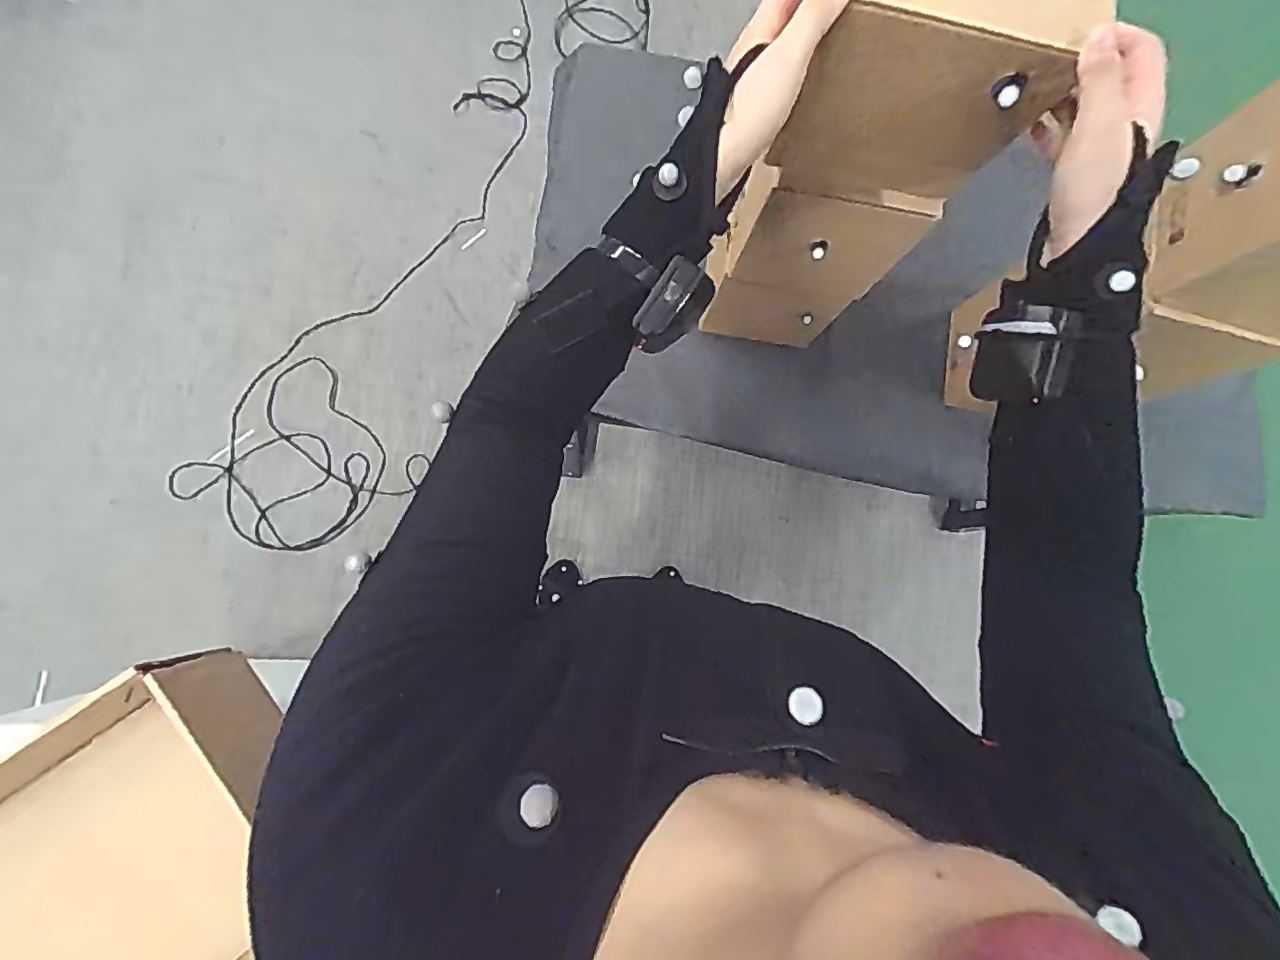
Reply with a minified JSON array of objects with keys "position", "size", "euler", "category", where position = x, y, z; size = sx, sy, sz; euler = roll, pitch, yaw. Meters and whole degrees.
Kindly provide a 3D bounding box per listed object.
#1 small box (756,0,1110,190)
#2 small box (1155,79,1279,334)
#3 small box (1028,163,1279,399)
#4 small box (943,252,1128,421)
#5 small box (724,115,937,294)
[{"position":[0.198,-0.345,0.397],"size":[0.179,0.176,0.168],"euler":[10,90,-3],"category":"small box"},{"position":[0.606,-0.245,0.466],"size":[0.179,0.176,0.168],"euler":[15,79,0],"category":"small box"},{"position":[0.592,-0.215,0.626],"size":[0.168,0.176,0.179],"euler":[13,81,0],"category":"small box"},{"position":[0.582,-0.195,0.787],"size":[0.179,0.176,0.168],"euler":[12,79,-2],"category":"small box"},{"position":[0.207,-0.333,0.615],"size":[0.179,0.176,0.168],"euler":[8,80,-3],"category":"small box"}]
